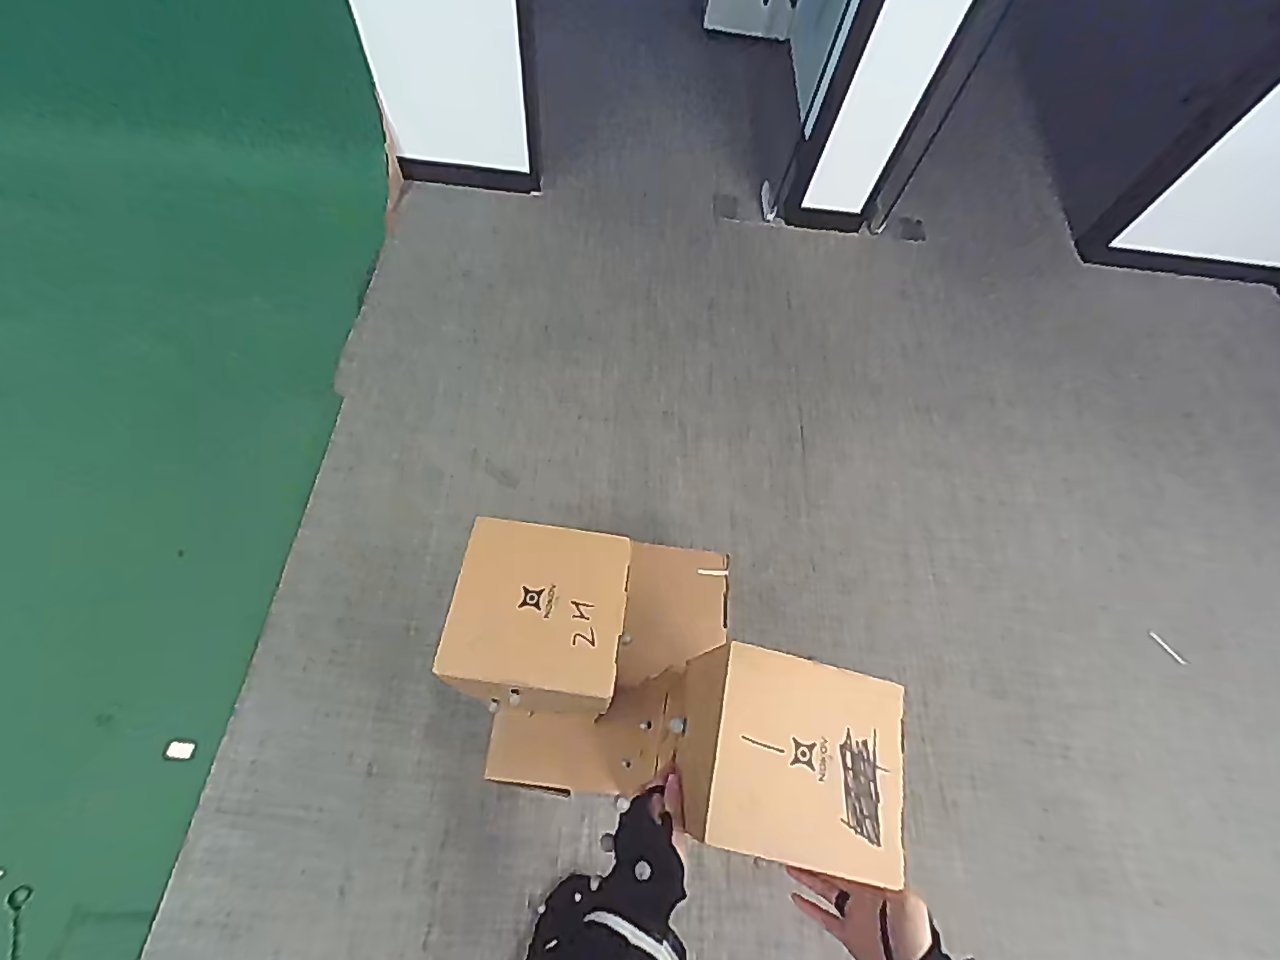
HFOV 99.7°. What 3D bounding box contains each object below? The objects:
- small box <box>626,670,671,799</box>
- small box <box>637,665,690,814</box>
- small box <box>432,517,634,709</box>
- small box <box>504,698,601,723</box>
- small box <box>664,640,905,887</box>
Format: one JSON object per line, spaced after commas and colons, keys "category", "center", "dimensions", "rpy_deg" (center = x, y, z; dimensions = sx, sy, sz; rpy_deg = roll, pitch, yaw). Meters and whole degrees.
{"category": "small box", "center": [0.075, 0.424, 0.873], "dimensions": [0.168, 0.176, 0.179], "rpy_deg": [12, 61, -2]}
{"category": "small box", "center": [0.102, 0.359, 0.726], "dimensions": [0.179, 0.176, 0.168], "rpy_deg": [12, 62, -1]}
{"category": "small box", "center": [-0.107, 0.159, 0.616], "dimensions": [0.179, 0.176, 0.168], "rpy_deg": [8, 62, -1]}
{"category": "small box", "center": [-0.135, 0.298, 0.914], "dimensions": [0.168, 0.176, 0.179], "rpy_deg": [10, 61, 0]}
{"category": "small box", "center": [0.136, 0.274, 0.544], "dimensions": [0.179, 0.176, 0.168], "rpy_deg": [15, 63, -3]}
